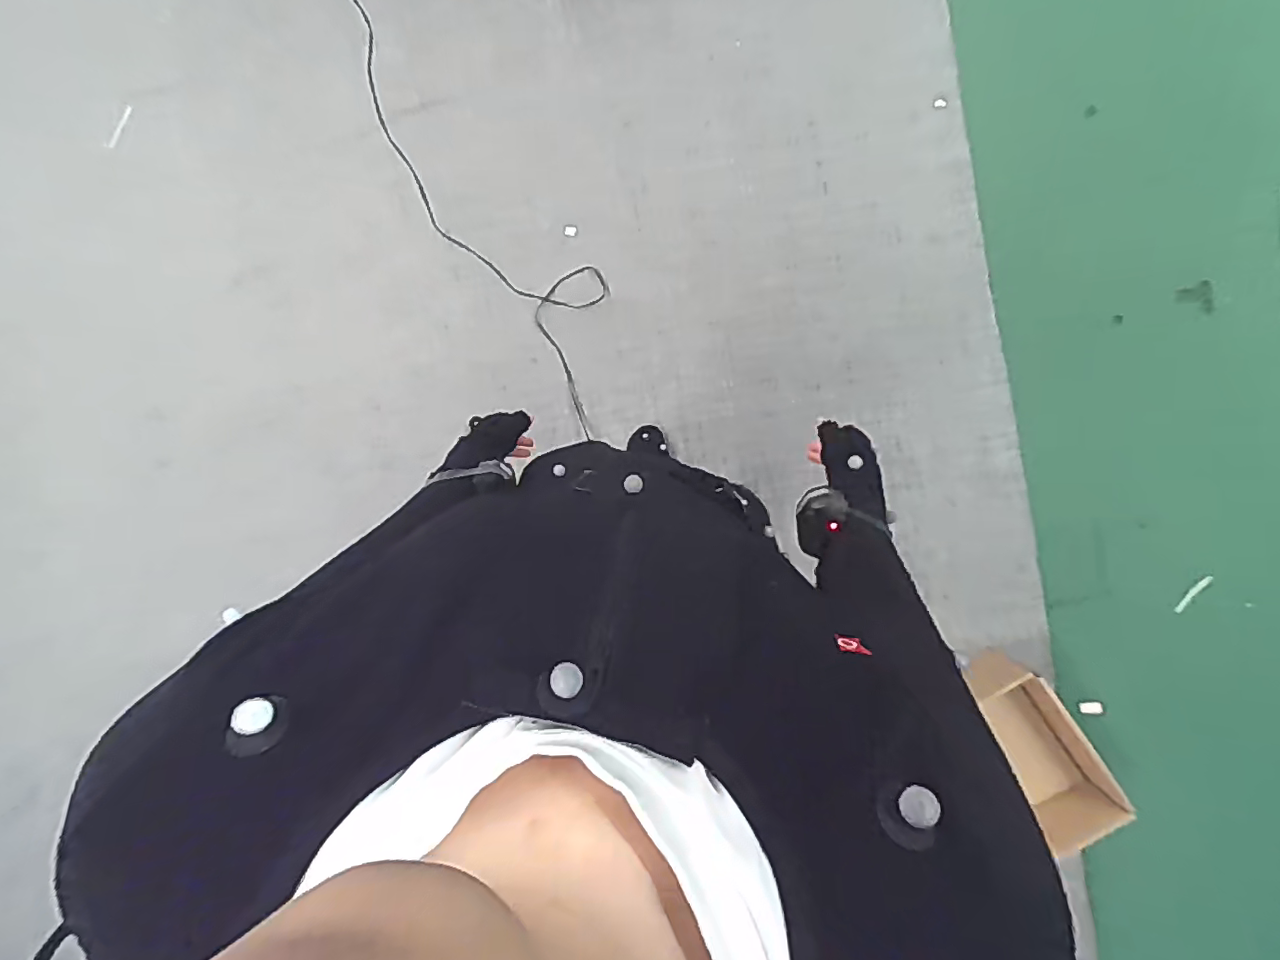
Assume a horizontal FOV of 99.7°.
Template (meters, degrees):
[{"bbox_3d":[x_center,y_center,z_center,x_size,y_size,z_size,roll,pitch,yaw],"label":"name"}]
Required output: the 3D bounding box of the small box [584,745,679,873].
[{"bbox_3d":[-0.011,0.668,1.114,0.179,0.176,0.168,-3,93,5],"label":"small box"}]
